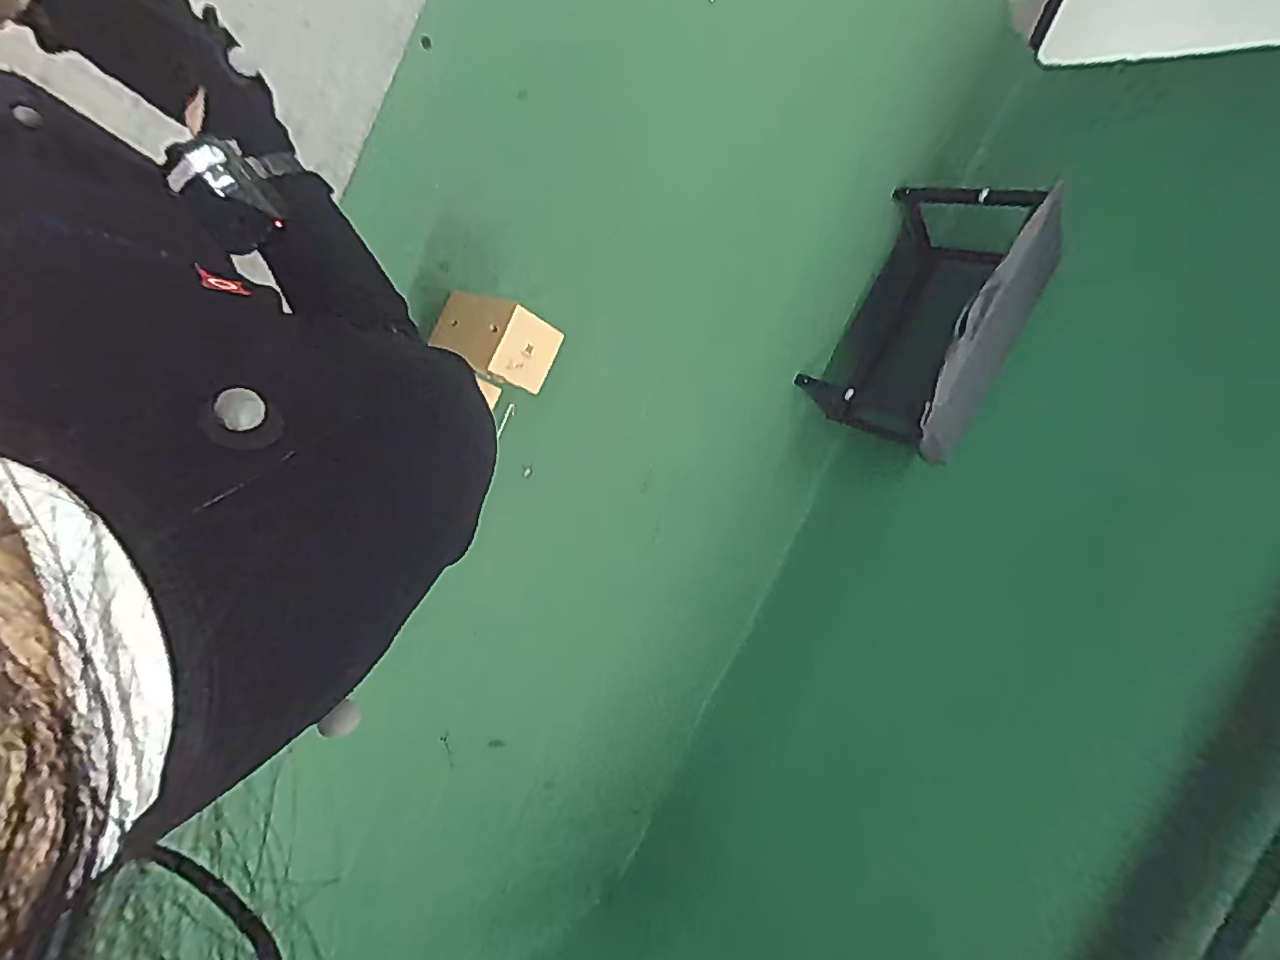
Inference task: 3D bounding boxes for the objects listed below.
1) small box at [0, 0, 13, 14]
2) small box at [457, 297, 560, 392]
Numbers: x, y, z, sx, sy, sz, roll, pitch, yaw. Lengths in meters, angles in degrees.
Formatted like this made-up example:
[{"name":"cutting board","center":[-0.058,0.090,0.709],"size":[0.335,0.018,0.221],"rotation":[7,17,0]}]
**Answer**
[{"name":"small box","center":[-0.382,-0.321,0.210],"size":[0.168,0.176,0.179],"rotation":[-18,125,-48]},{"name":"small box","center":[-0.346,-0.355,1.407],"size":[0.168,0.176,0.179],"rotation":[24,93,-51]}]
